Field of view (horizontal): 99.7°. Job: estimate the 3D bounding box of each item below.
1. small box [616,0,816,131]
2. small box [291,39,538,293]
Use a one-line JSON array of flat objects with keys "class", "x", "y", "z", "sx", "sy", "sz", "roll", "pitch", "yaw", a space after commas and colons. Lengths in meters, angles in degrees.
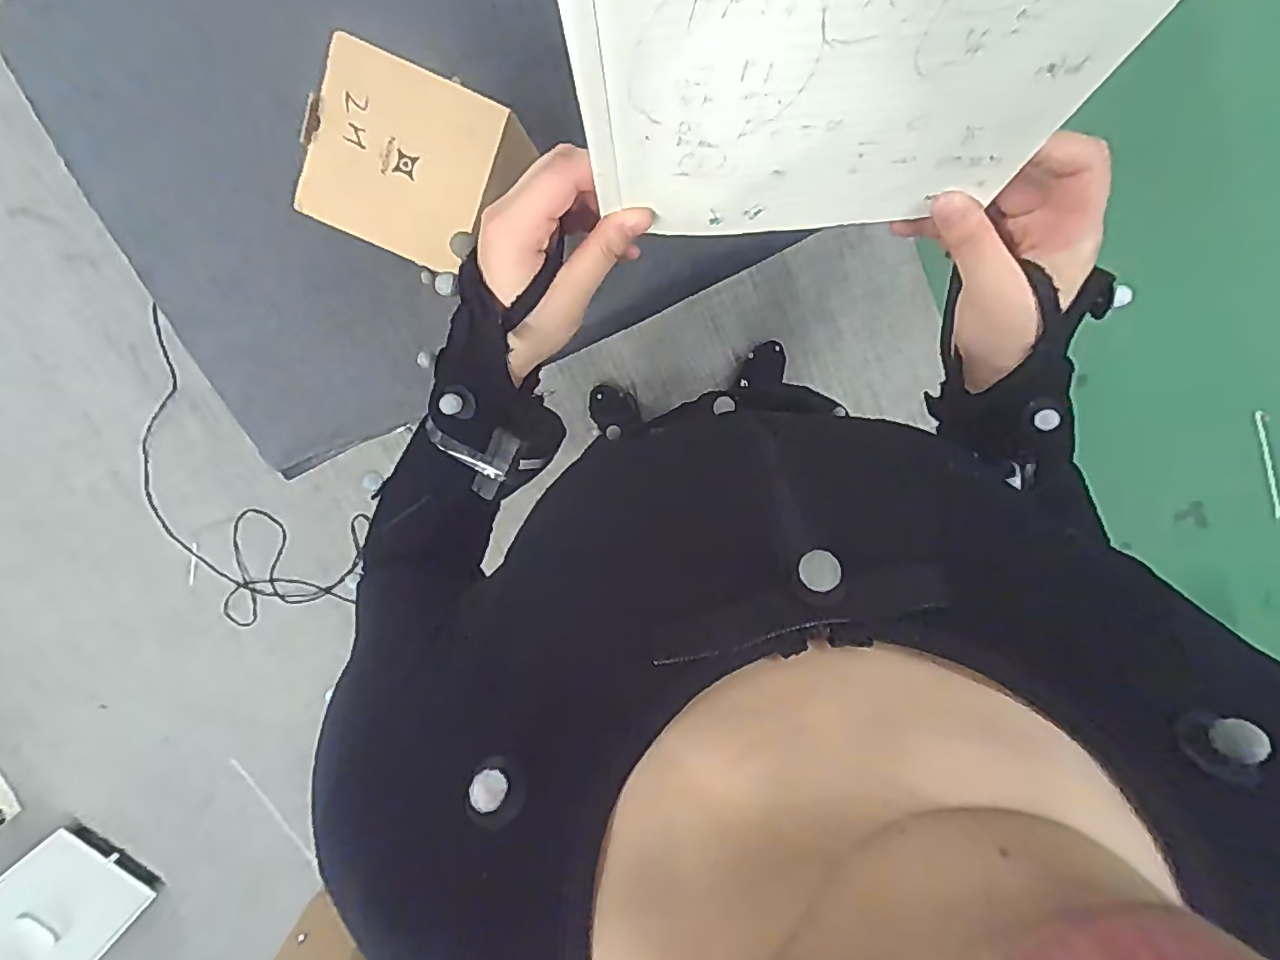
[{"class": "small box", "x": 0.073, "y": -0.476, "z": 0.546, "sx": 0.179, "sy": 0.176, "sz": 0.168, "roll": 4, "pitch": 103, "yaw": 3}, {"class": "small box", "x": -0.230, "y": -0.319, "z": 0.596, "sx": 0.179, "sy": 0.176, "sz": 0.168, "roll": 23, "pitch": 103, "yaw": -3}]
